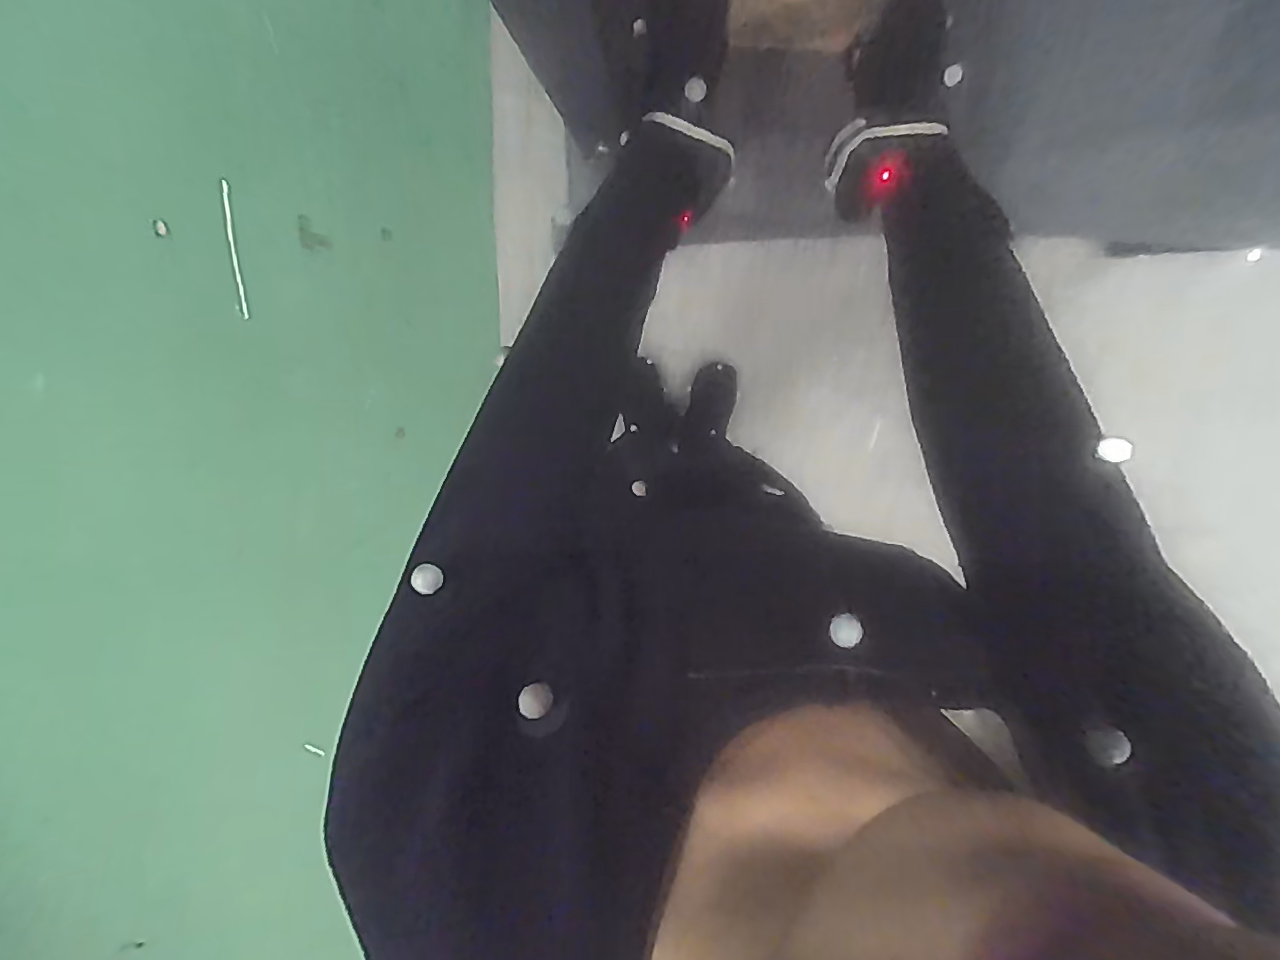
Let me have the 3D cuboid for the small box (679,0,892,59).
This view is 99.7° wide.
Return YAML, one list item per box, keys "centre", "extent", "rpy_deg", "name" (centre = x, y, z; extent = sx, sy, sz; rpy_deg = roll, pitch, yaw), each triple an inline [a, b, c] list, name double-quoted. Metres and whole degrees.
- centre: [0.123, -0.479, 0.435]
  extent: [0.168, 0.176, 0.179]
  rpy_deg: [1, 112, -2]
  name: "small box"
